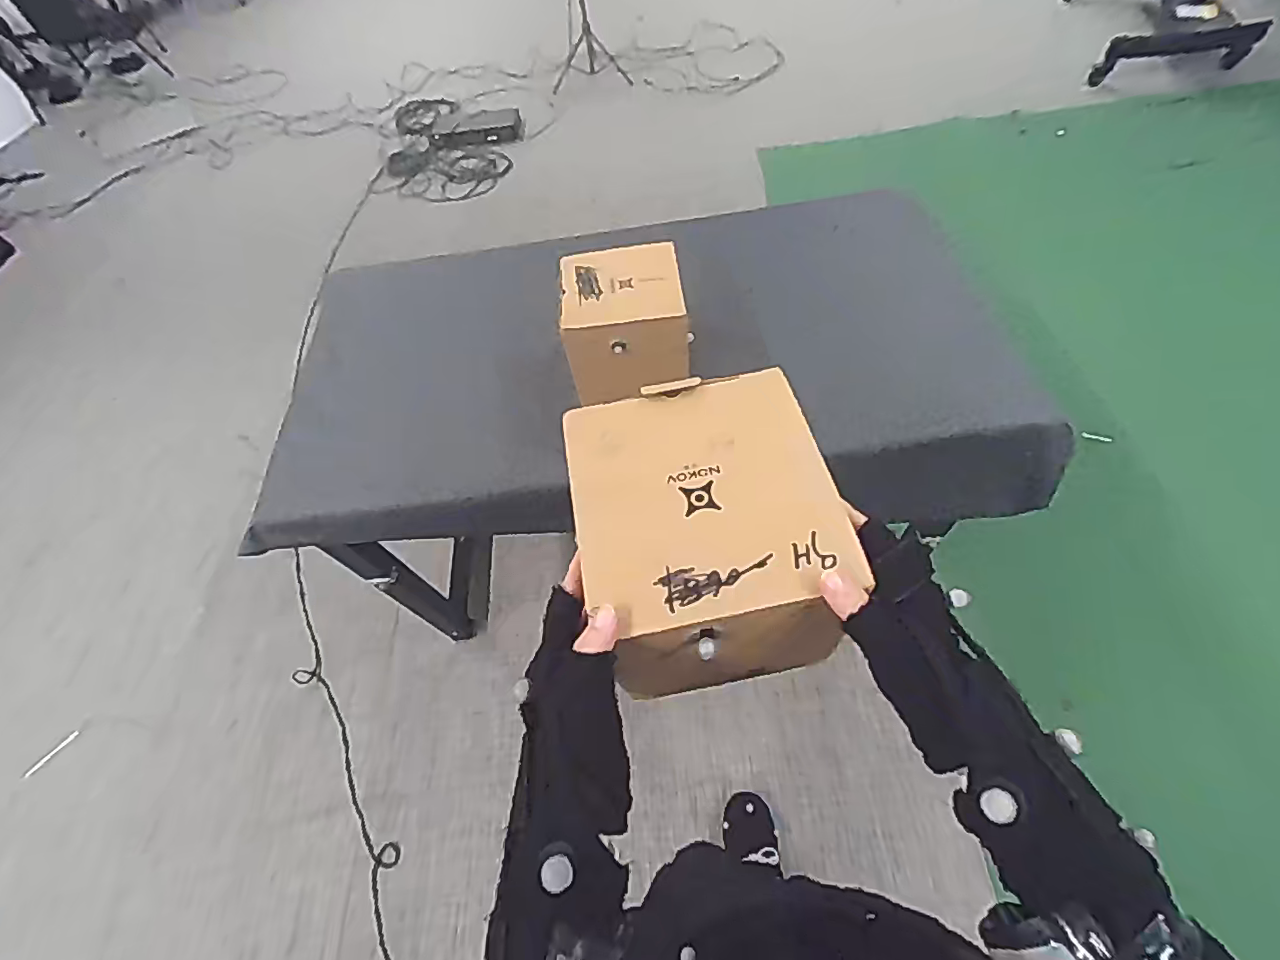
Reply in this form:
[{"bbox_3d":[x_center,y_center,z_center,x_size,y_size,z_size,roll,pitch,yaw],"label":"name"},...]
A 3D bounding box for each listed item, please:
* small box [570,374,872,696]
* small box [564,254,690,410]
[{"bbox_3d":[0.049,0.049,0.429,0.168,0.176,0.179,-14,56,-2],"label":"small box"},{"bbox_3d":[-0.017,-0.227,0.858,0.179,0.176,0.168,-6,57,2],"label":"small box"}]
